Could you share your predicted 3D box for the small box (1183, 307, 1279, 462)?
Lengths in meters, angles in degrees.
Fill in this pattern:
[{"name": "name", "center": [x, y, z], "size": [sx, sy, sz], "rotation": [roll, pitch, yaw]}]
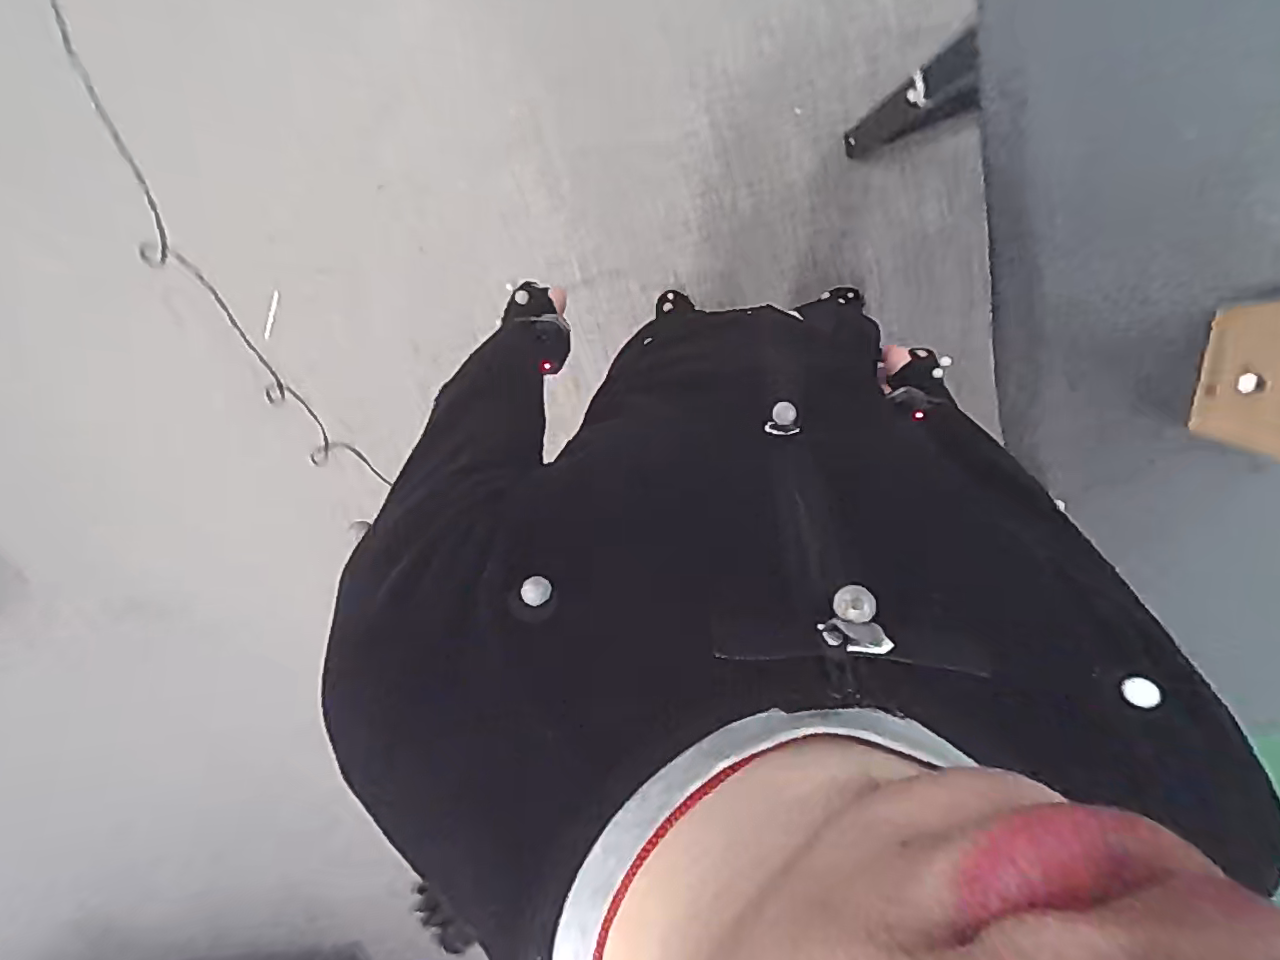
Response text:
[{"name": "small box", "center": [0.825, -0.117, 0.649], "size": [0.179, 0.176, 0.168], "rotation": [-5, 111, 6]}]
